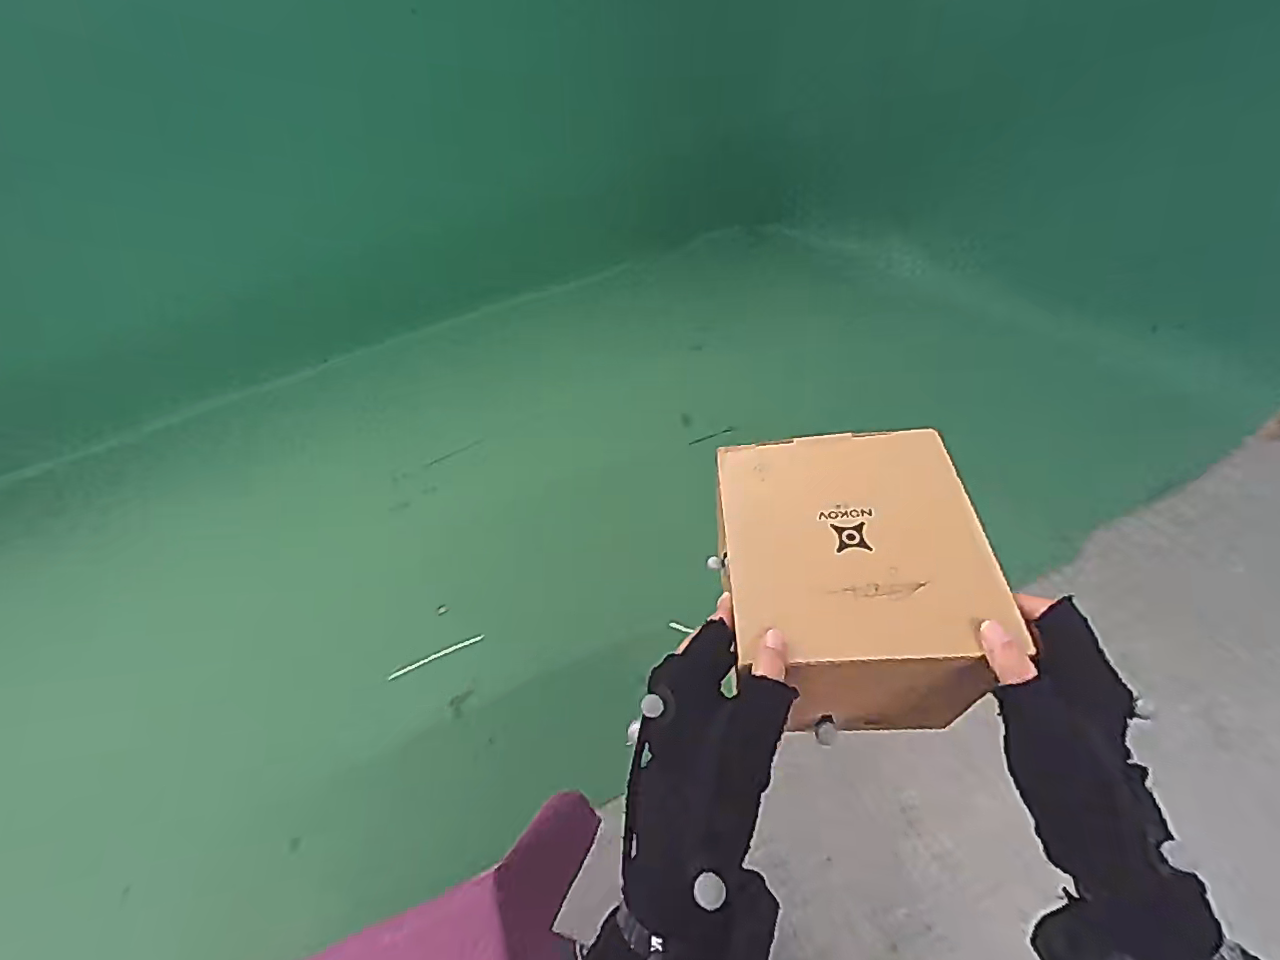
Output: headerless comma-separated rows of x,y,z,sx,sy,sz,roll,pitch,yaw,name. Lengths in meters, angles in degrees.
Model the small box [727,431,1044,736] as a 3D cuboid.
0.155,0.085,0.421,0.168,0.176,0.179,-4,53,7,small box
